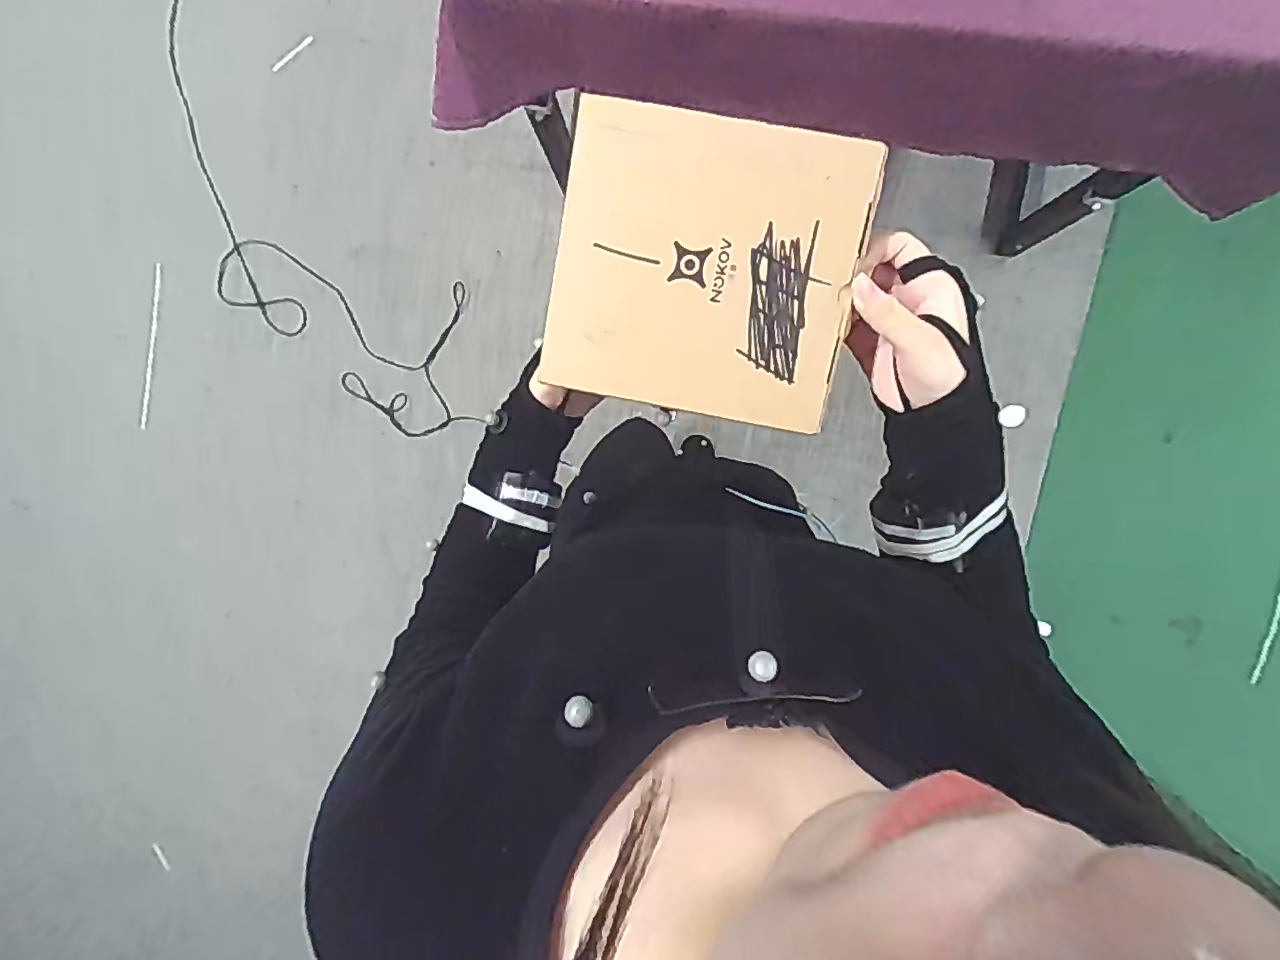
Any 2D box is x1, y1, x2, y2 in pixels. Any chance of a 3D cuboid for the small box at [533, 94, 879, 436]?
[{"bbox_3d":[0.038,-0.136,0.396,0.179,0.176,0.168,12,100,2],"label":"small box"}]
